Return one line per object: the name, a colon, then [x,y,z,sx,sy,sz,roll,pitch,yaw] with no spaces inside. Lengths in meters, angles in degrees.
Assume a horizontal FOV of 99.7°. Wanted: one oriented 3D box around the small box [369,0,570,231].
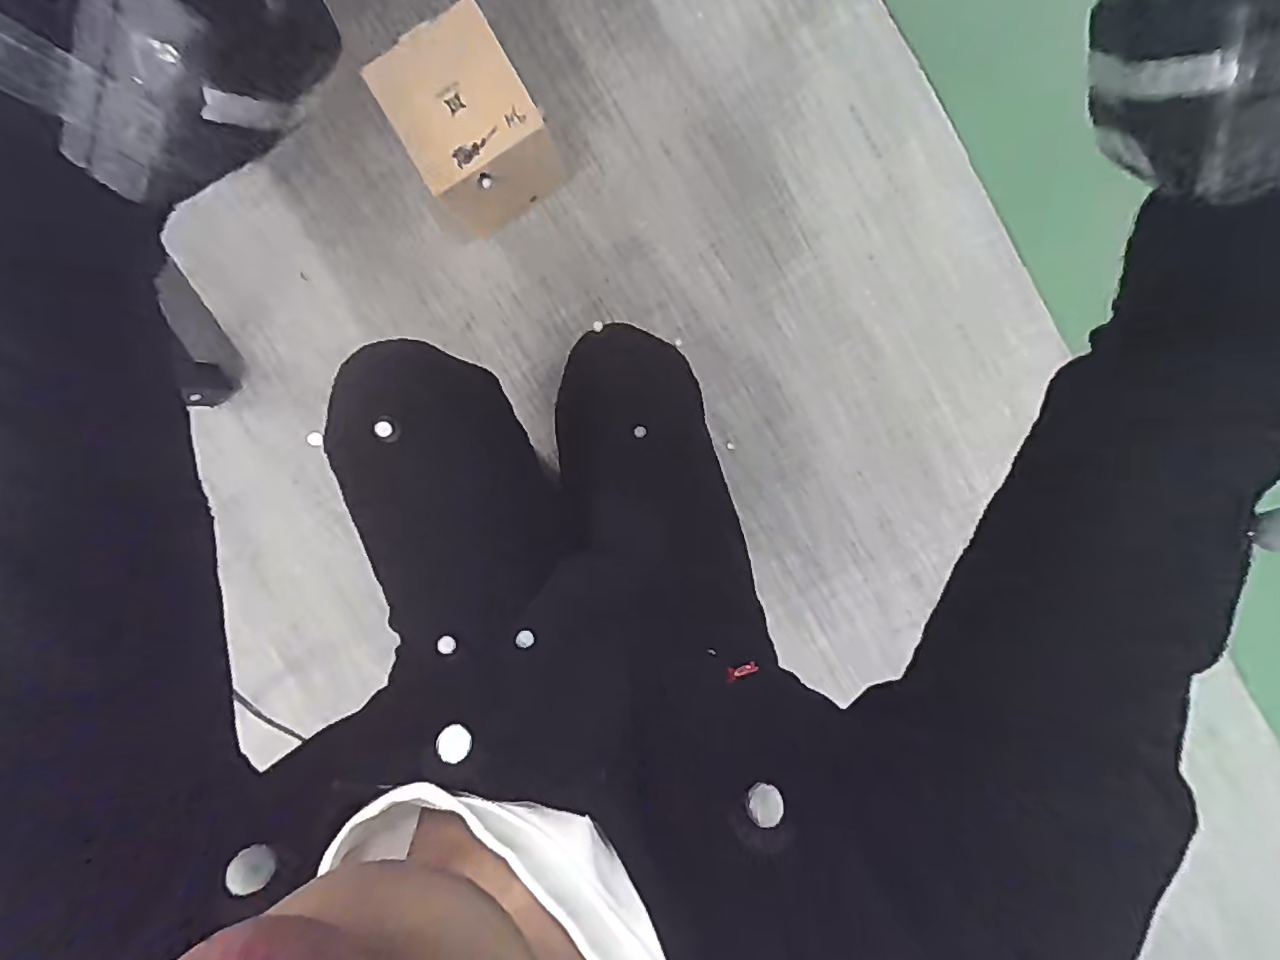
small box: [-0.218,-0.482,0.739,0.168,0.176,0.179,-30,93,7]
